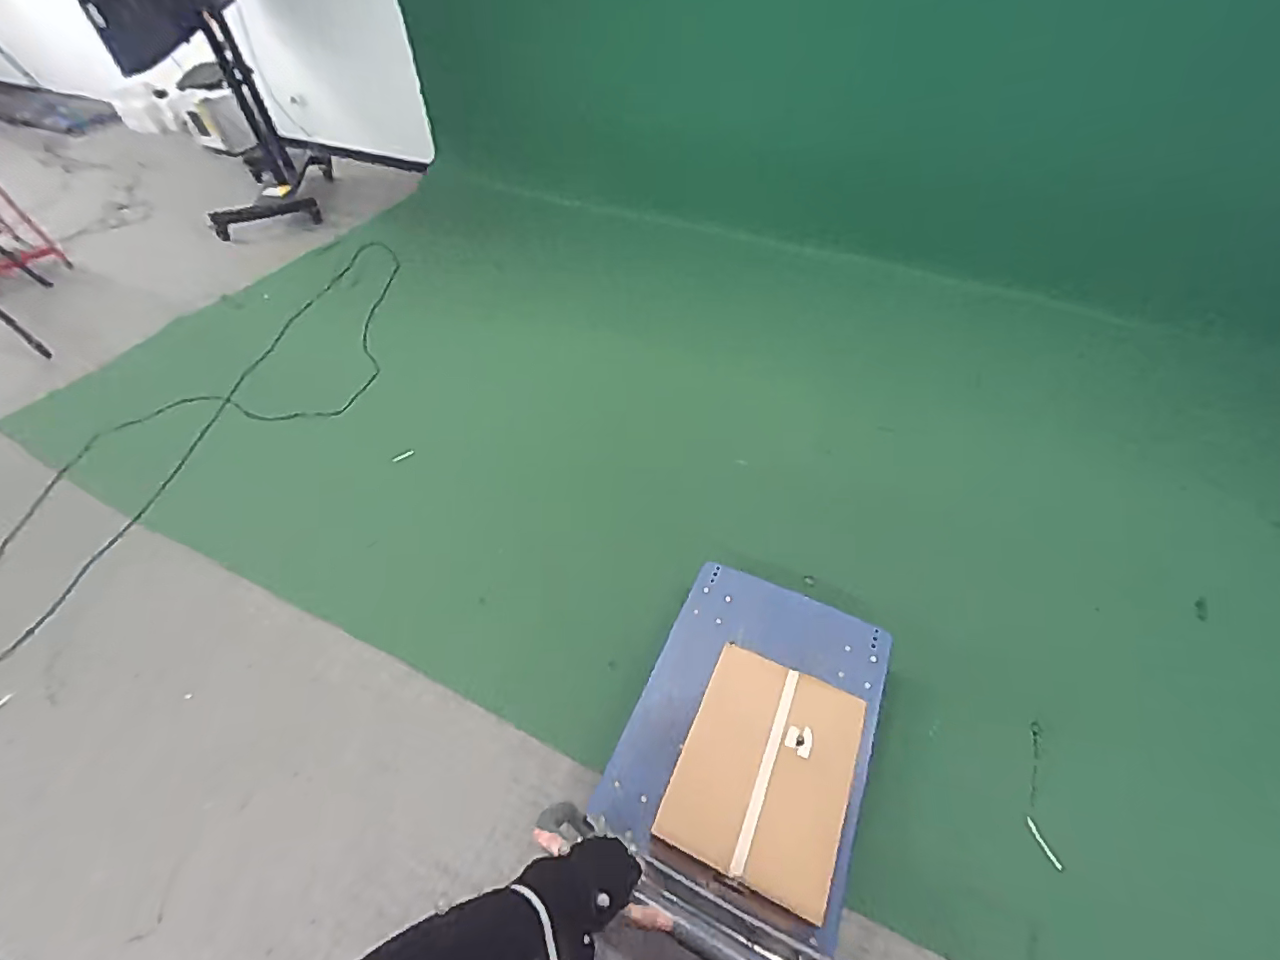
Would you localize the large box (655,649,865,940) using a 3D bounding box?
[{"bbox_3d":[0.245,0.653,1.141,0.320,0.320,0.408,20,51,16],"label":"large box"}]
